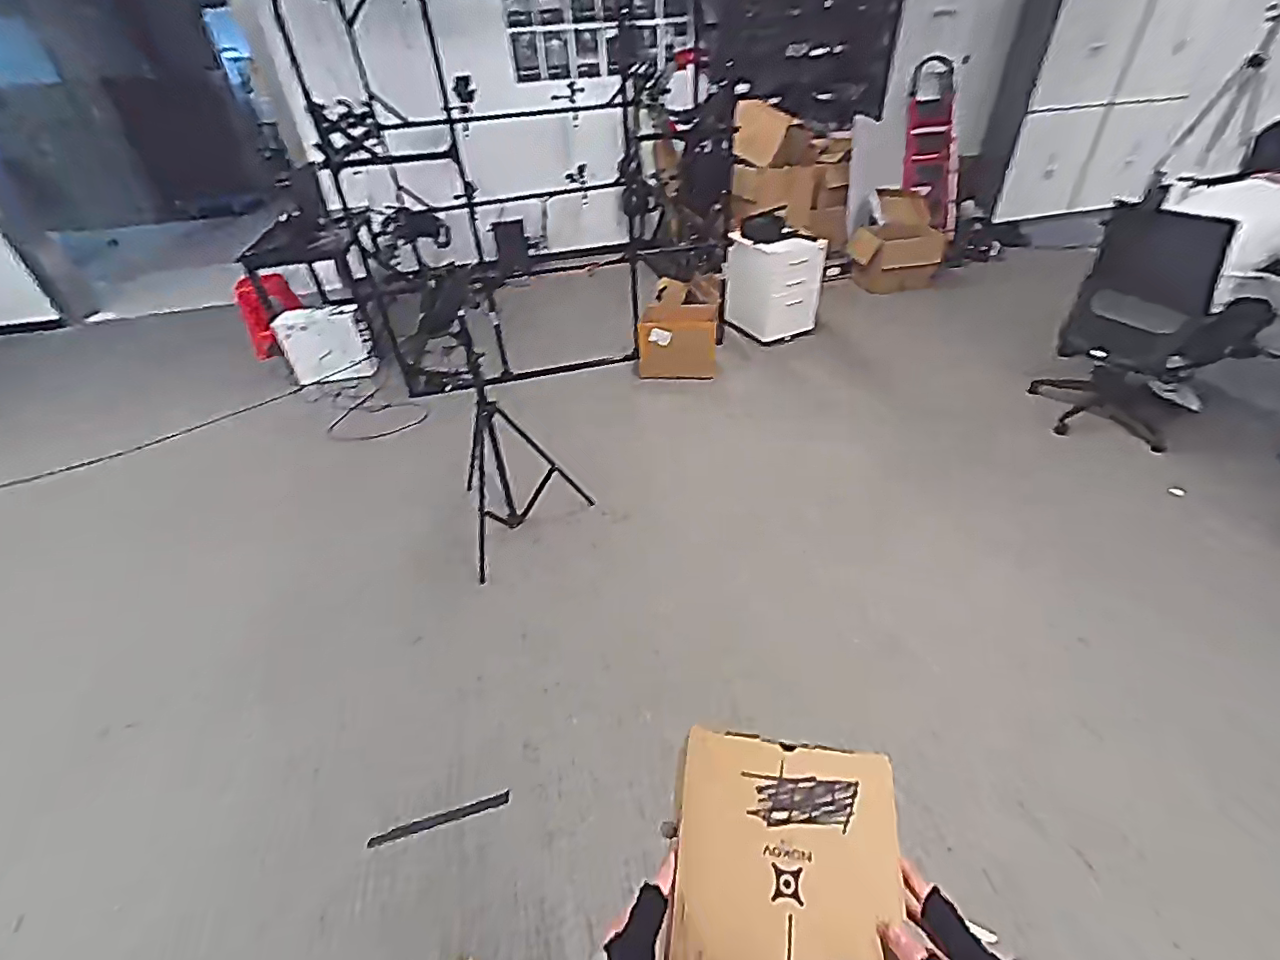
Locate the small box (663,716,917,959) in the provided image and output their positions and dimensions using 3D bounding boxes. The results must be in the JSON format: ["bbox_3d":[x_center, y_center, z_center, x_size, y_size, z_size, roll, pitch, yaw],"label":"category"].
[{"bbox_3d":[0.110,0.318,0.457,0.168,0.176,0.179,6,58,5],"label":"small box"}]
